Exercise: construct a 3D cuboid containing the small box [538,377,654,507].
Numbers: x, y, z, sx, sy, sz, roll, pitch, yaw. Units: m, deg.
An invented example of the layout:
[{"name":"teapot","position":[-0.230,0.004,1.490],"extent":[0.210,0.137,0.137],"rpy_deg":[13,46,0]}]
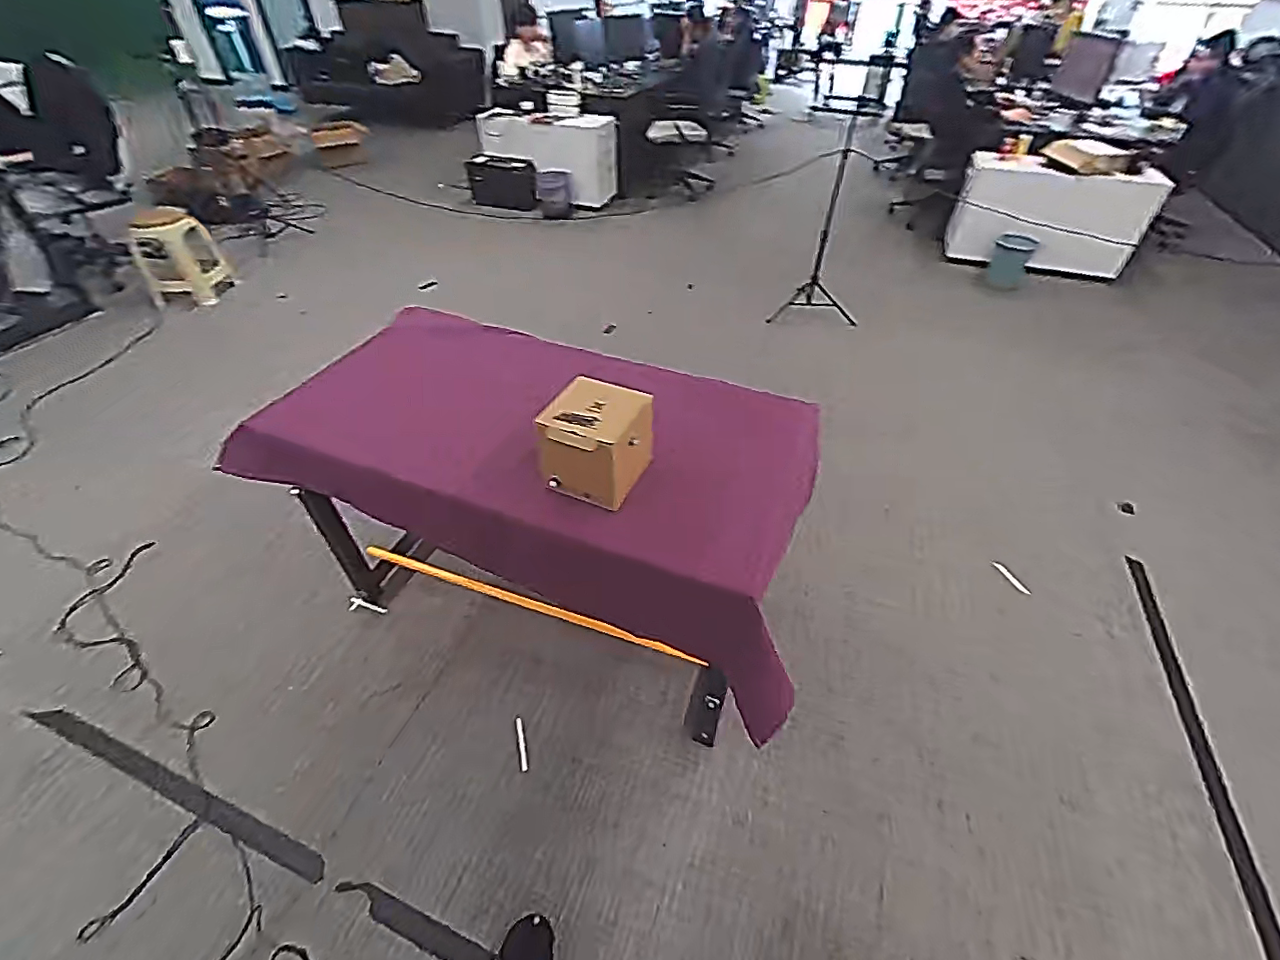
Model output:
[{"name":"small box","position":[-0.080,-0.074,1.076],"extent":[0.168,0.176,0.179],"rpy_deg":[18,46,17]}]
